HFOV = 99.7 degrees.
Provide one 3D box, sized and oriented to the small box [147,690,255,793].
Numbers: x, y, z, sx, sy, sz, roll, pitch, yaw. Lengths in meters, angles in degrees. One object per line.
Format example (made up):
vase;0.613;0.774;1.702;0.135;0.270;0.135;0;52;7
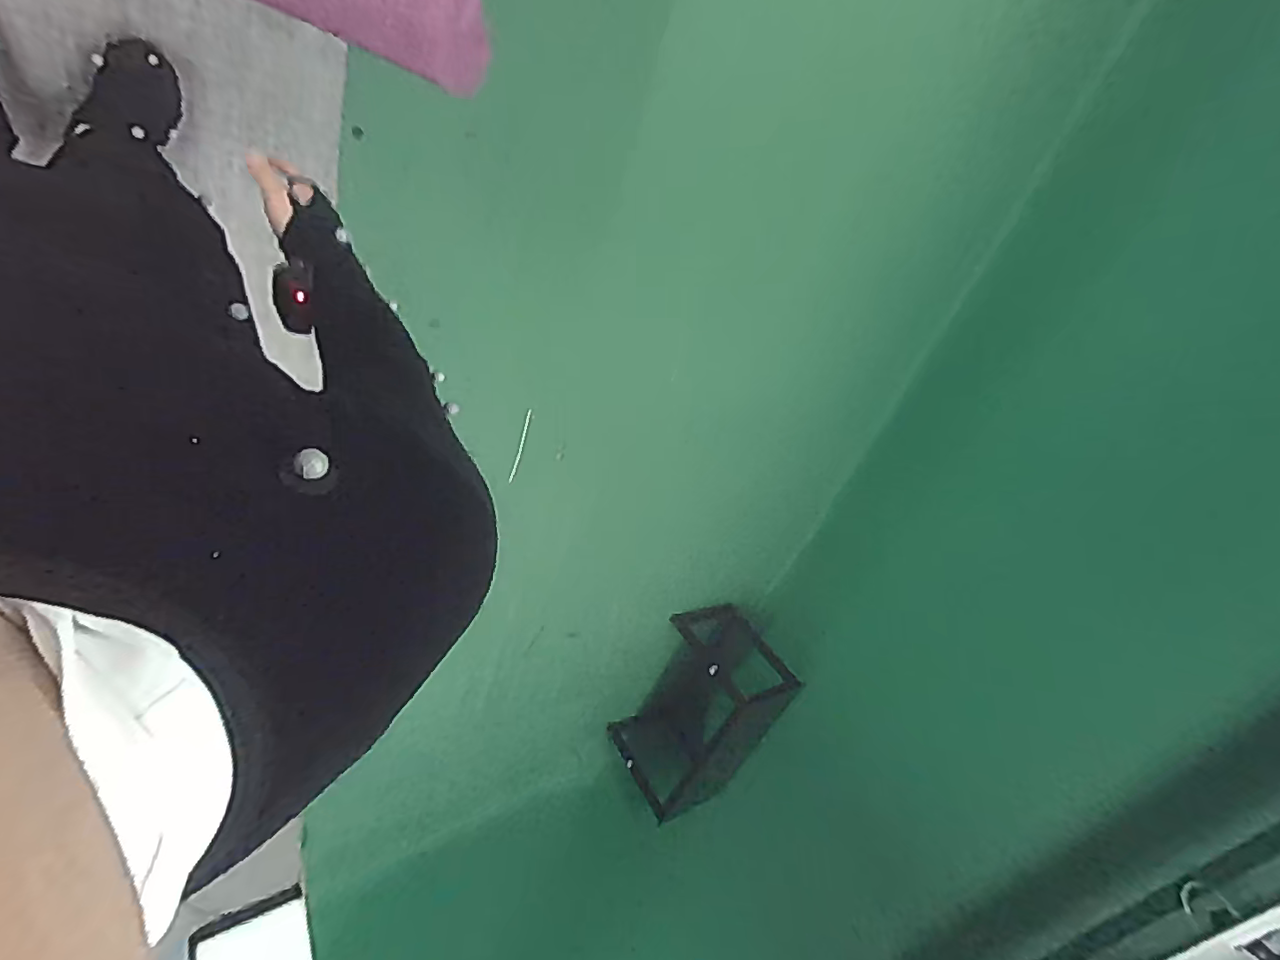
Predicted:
small box;-1.228;0.733;1.521;0.179;0.176;0.168;-29;140;-17
